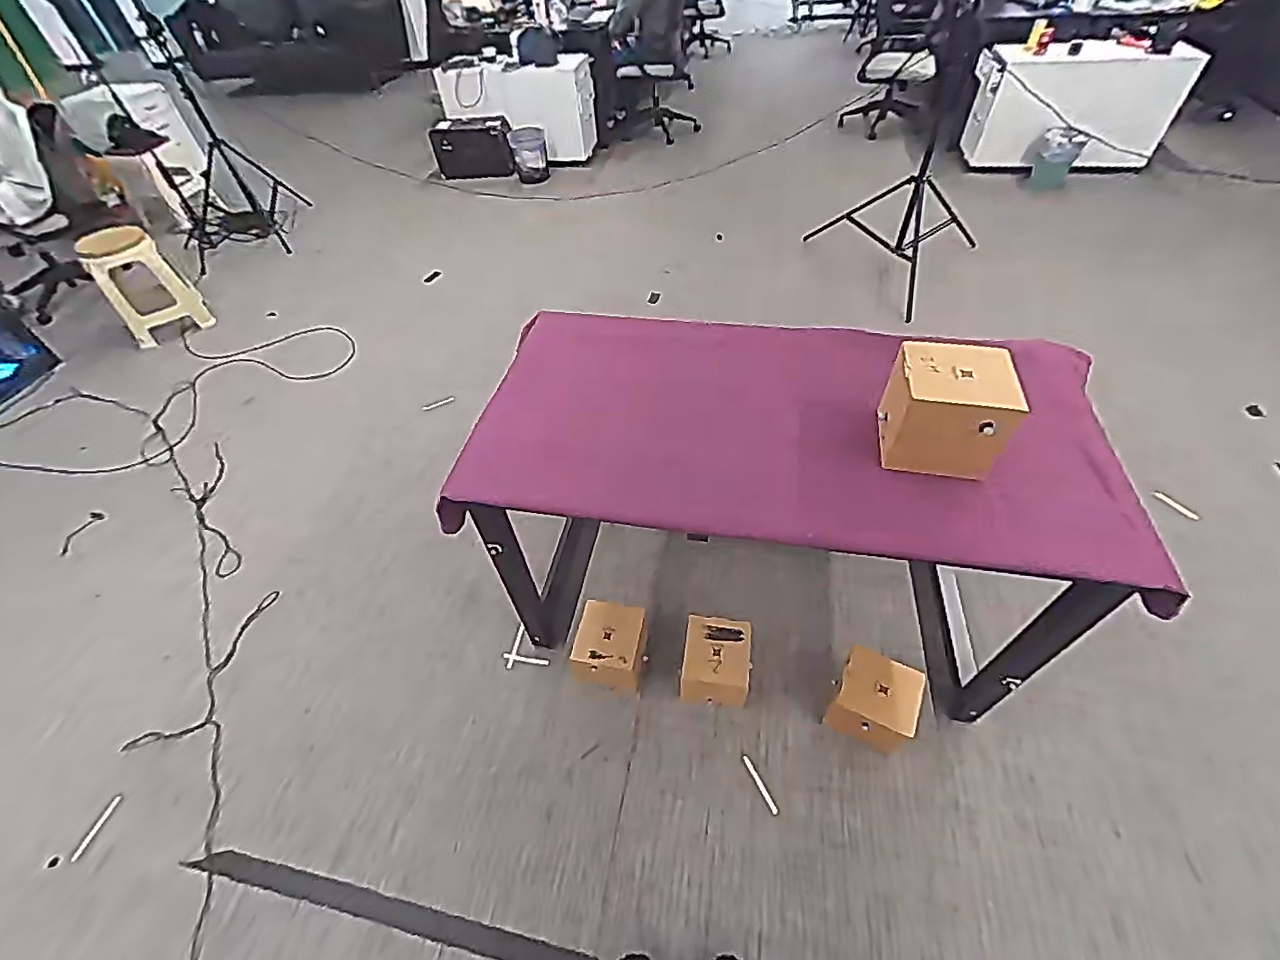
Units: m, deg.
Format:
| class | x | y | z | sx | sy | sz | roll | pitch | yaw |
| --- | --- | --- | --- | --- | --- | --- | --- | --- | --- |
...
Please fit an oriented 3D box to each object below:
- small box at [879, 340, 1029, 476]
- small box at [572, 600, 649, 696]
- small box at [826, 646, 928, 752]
| class | x | y | z | sx | sy | sz | roll | pitch | yaw |
| --- | --- | --- | --- | --- | --- | --- | --- | --- | --- |
| small box | 0.541 | -0.125 | 0.960 | 0.179 | 0.176 | 0.168 | 7 | 49 | 11 |
| small box | -0.073 | 0.458 | 1.471 | 0.168 | 0.176 | 0.179 | 8 | 49 | 11 |
| small box | 0.582 | 0.548 | 1.341 | 0.179 | 0.176 | 0.168 | 19 | 54 | 22 |
